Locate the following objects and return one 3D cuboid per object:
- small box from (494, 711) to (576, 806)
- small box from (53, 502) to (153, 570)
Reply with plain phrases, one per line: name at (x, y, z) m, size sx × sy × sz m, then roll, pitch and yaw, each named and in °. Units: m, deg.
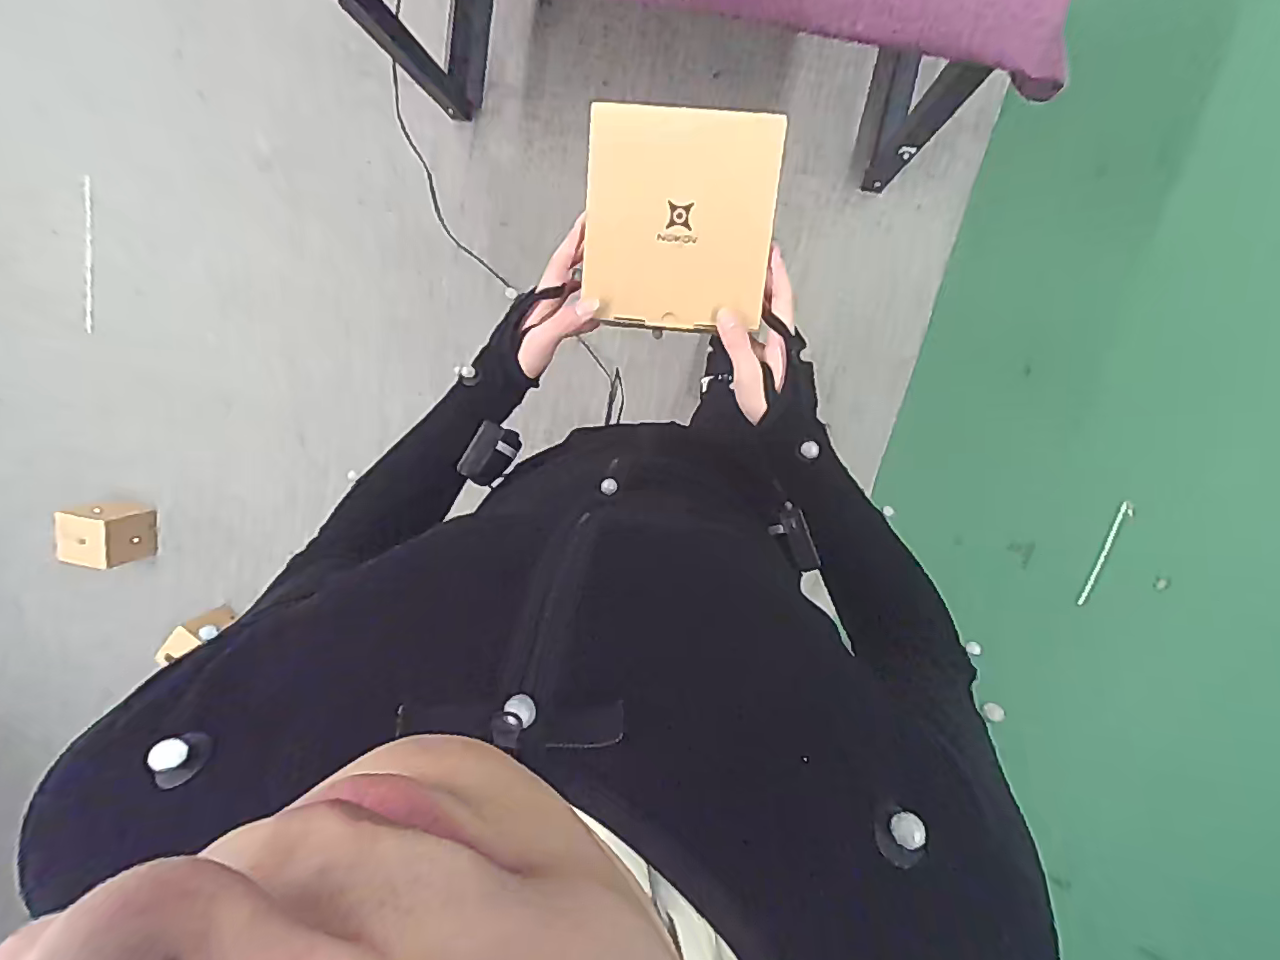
small box at (-0.333, 0.896, 1.754) m, size 0.179 × 0.176 × 0.168 m, roll -44°, pitch 93°, yaw 12°
small box at (-1.757, 0.177, 1.781) m, size 0.179 × 0.176 × 0.168 m, roll 10°, pitch 101°, yaw 5°
